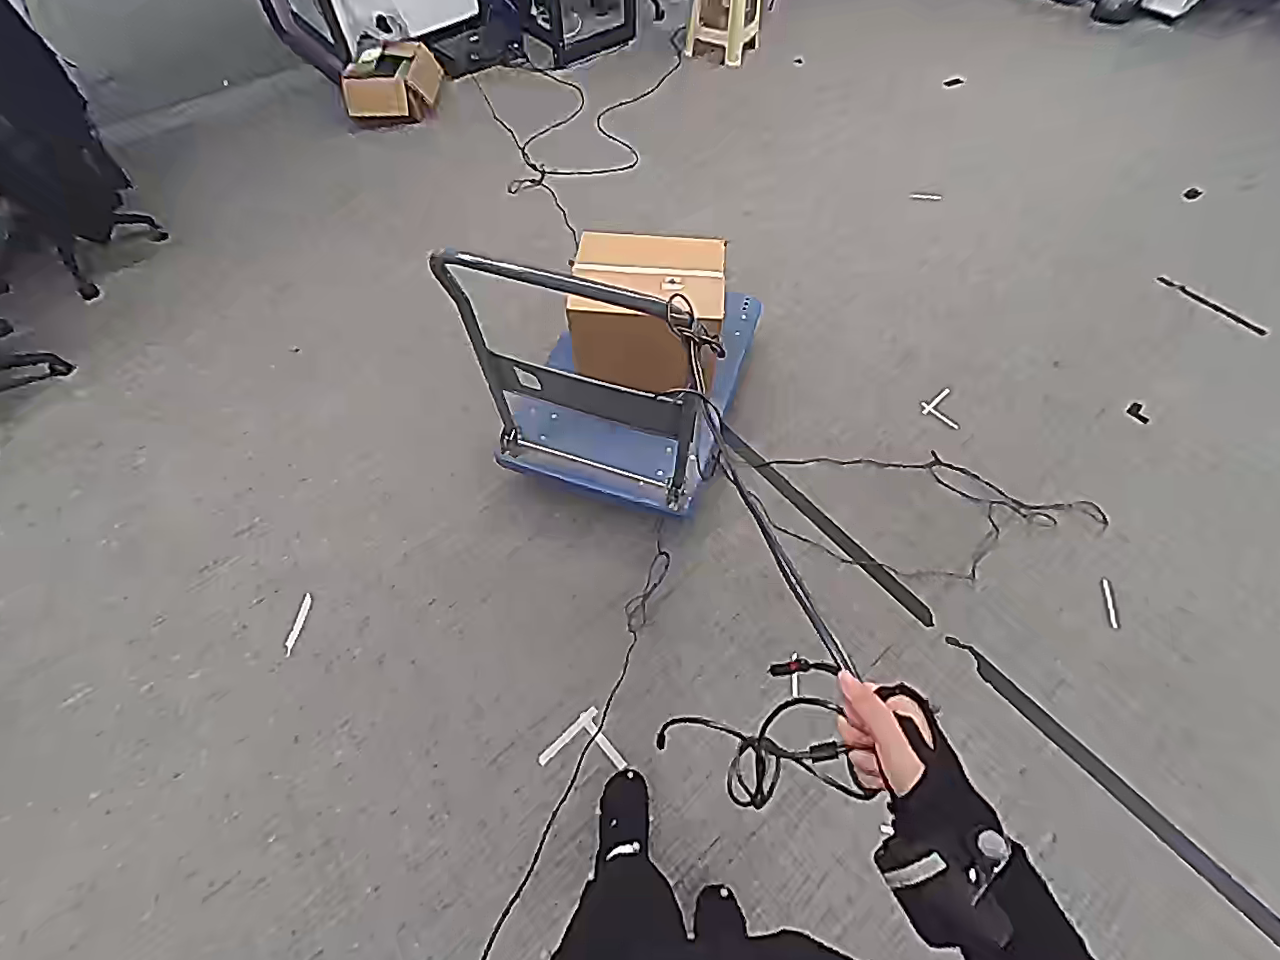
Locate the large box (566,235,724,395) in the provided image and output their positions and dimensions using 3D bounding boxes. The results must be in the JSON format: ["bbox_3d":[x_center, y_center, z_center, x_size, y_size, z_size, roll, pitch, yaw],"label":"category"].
[{"bbox_3d":[0.018,-0.465,1.556,0.408,0.320,0.320,5,61,2],"label":"large box"}]
